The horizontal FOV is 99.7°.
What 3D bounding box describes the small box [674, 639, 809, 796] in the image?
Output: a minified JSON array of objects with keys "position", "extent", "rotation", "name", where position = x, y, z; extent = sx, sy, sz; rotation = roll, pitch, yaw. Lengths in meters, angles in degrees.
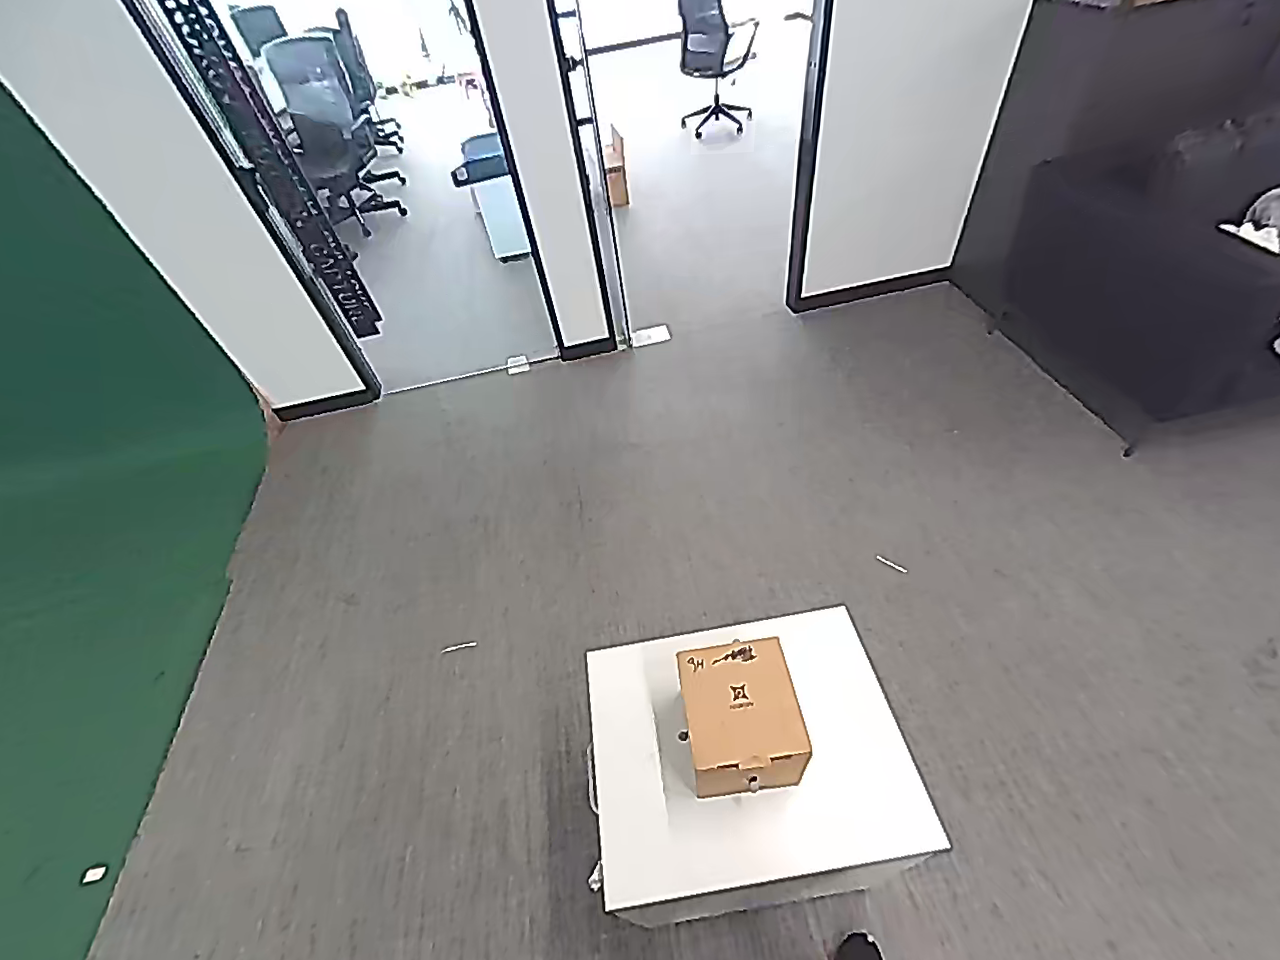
[{"position":[0.154,0.380,0.854],"extent":[0.168,0.176,0.179],"rotation":[-10,47,-1],"name":"small box"}]
